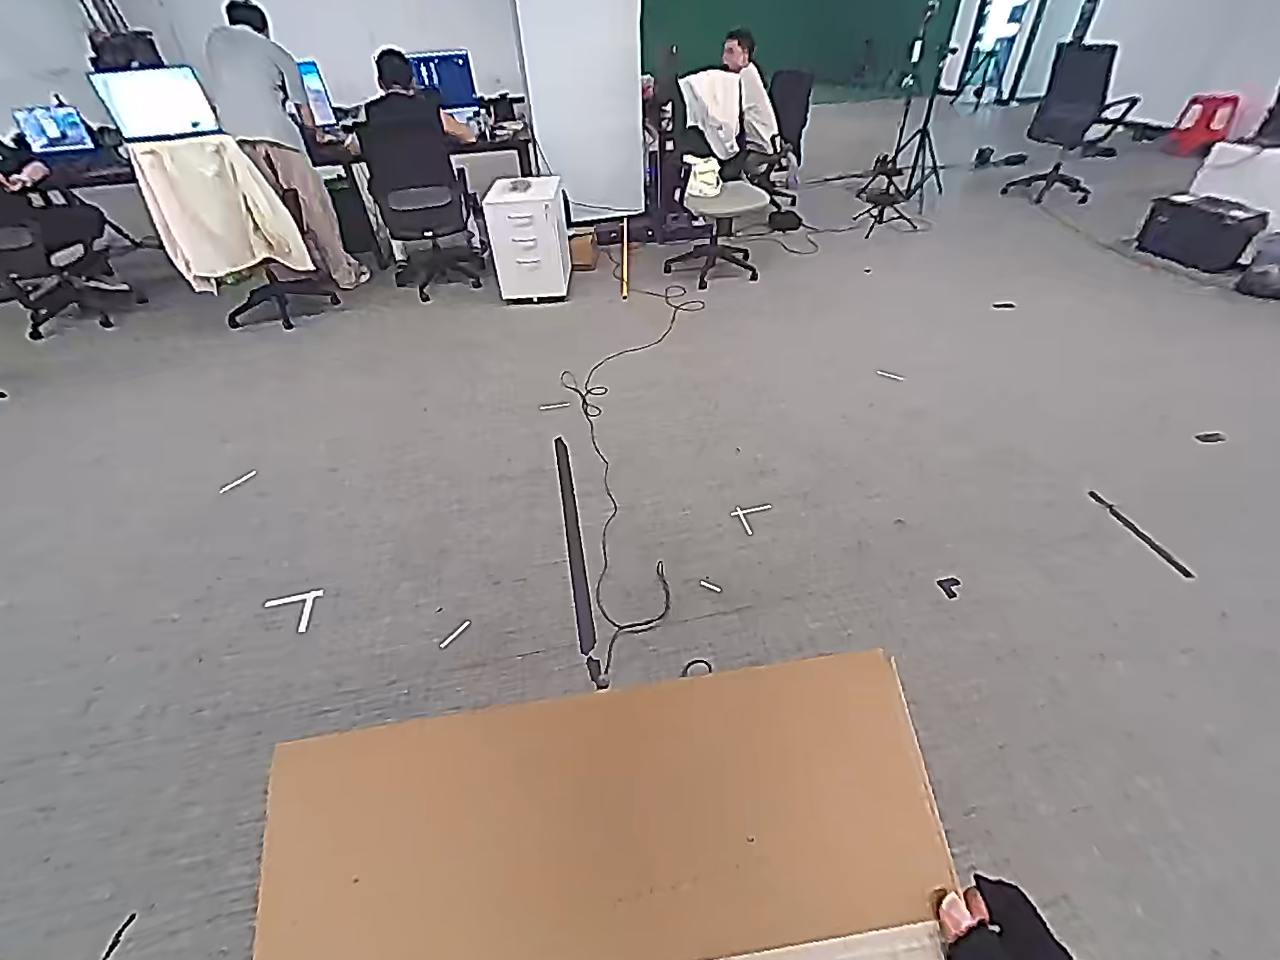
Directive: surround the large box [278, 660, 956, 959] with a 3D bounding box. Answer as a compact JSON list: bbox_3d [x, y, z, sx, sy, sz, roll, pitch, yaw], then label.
[{"bbox_3d":[-0.008,0.347,0.452,0.408,0.320,0.320,-8,69,-2],"label":"large box"}]
